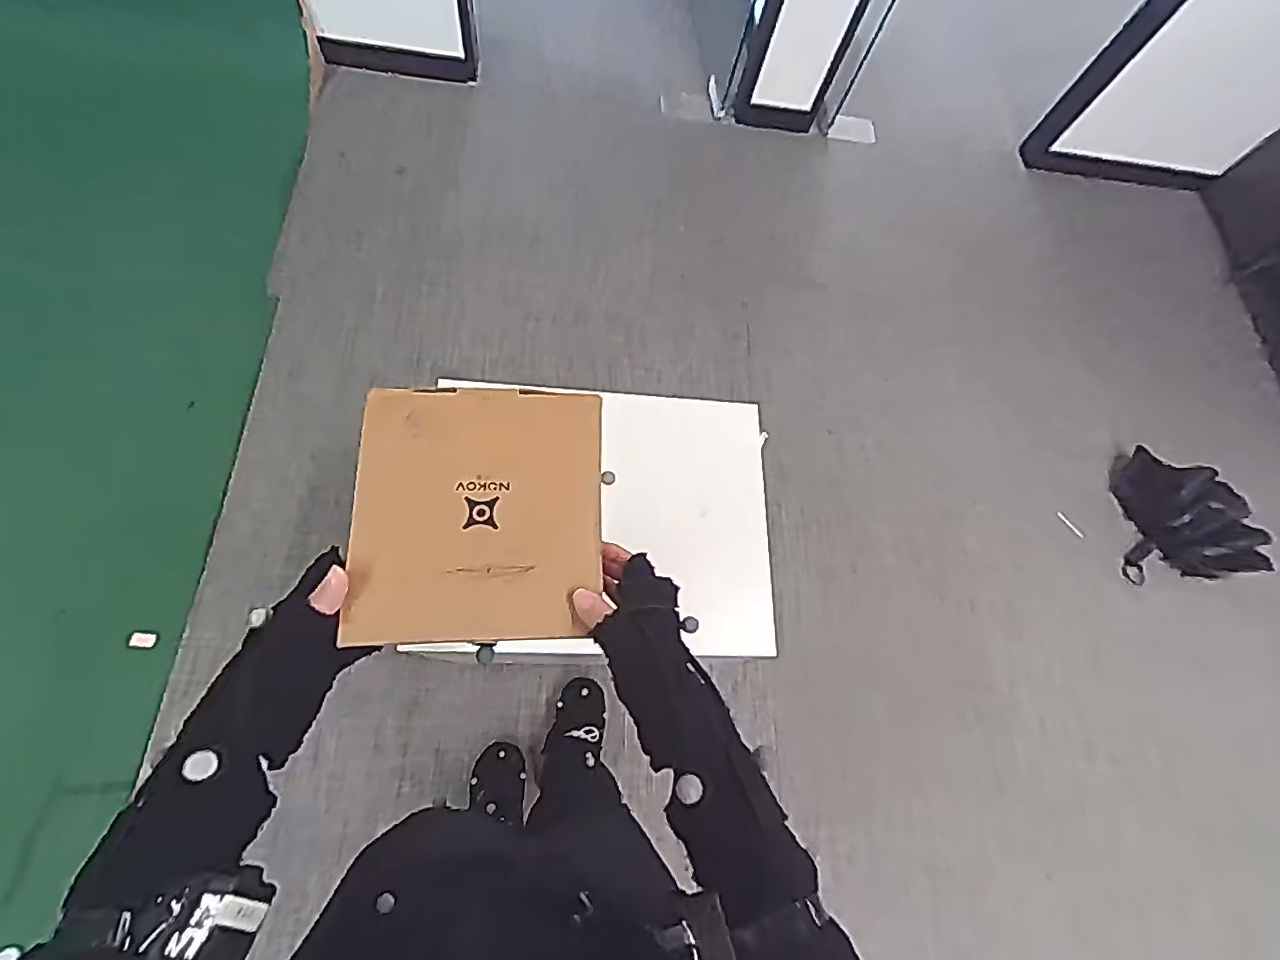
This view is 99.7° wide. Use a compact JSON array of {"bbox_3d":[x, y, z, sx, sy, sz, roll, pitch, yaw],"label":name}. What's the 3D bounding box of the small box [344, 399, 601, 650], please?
[{"bbox_3d":[-0.119,0.048,0.452,0.168,0.176,0.179,0,74,-7],"label":"small box"}]
